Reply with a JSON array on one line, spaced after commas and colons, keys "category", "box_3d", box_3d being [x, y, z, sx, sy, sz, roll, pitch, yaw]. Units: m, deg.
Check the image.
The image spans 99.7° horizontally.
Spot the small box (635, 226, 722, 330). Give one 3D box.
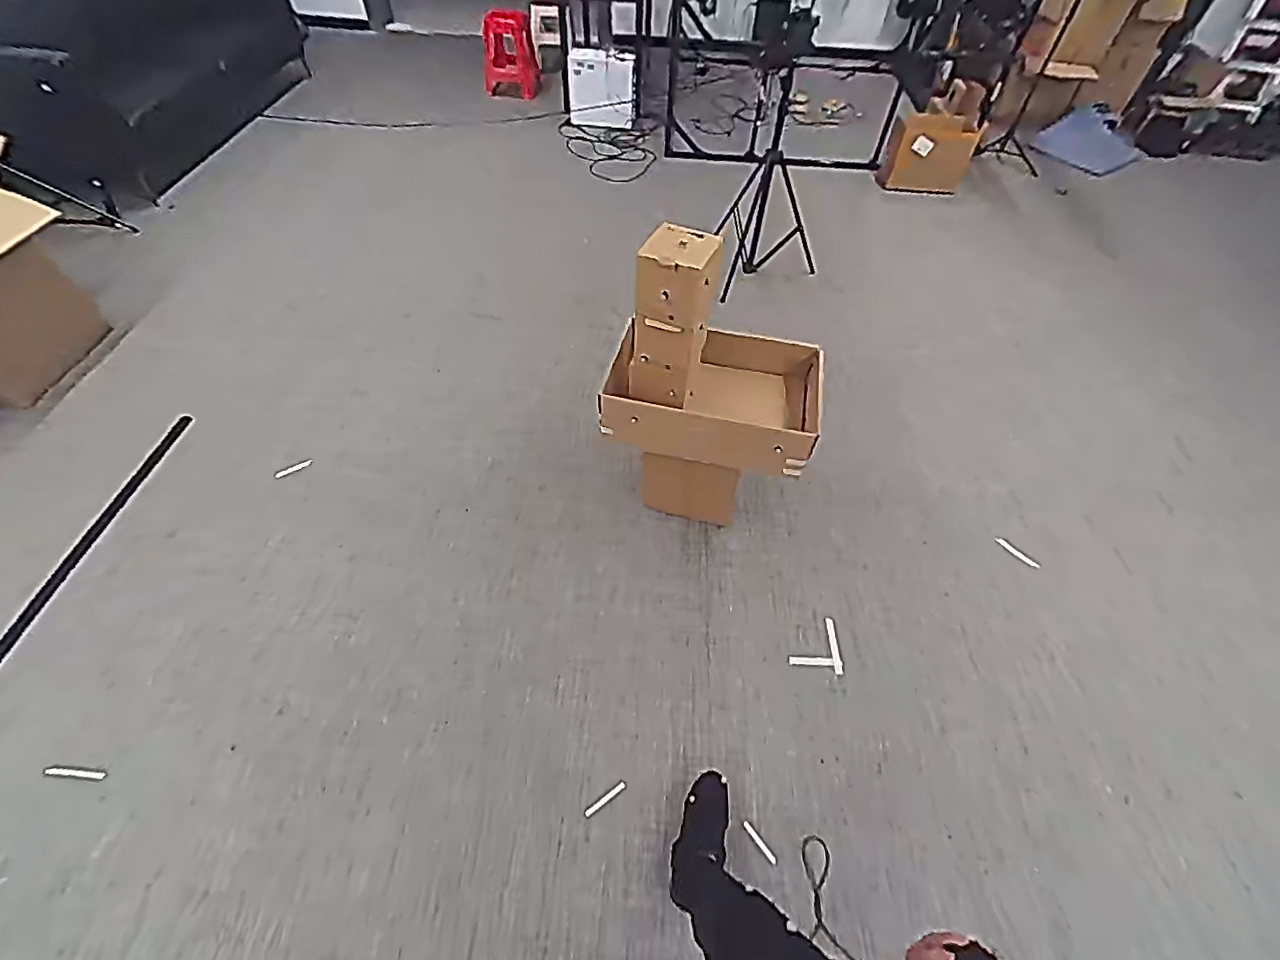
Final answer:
[{"category": "small box", "box_3d": [0.096, -0.512, 1.378, 0.168, 0.176, 0.179, 21, 54, 14]}]

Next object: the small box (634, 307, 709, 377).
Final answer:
[{"category": "small box", "box_3d": [0.090, -0.415, 1.511, 0.168, 0.176, 0.179, 17, 52, 11]}]
